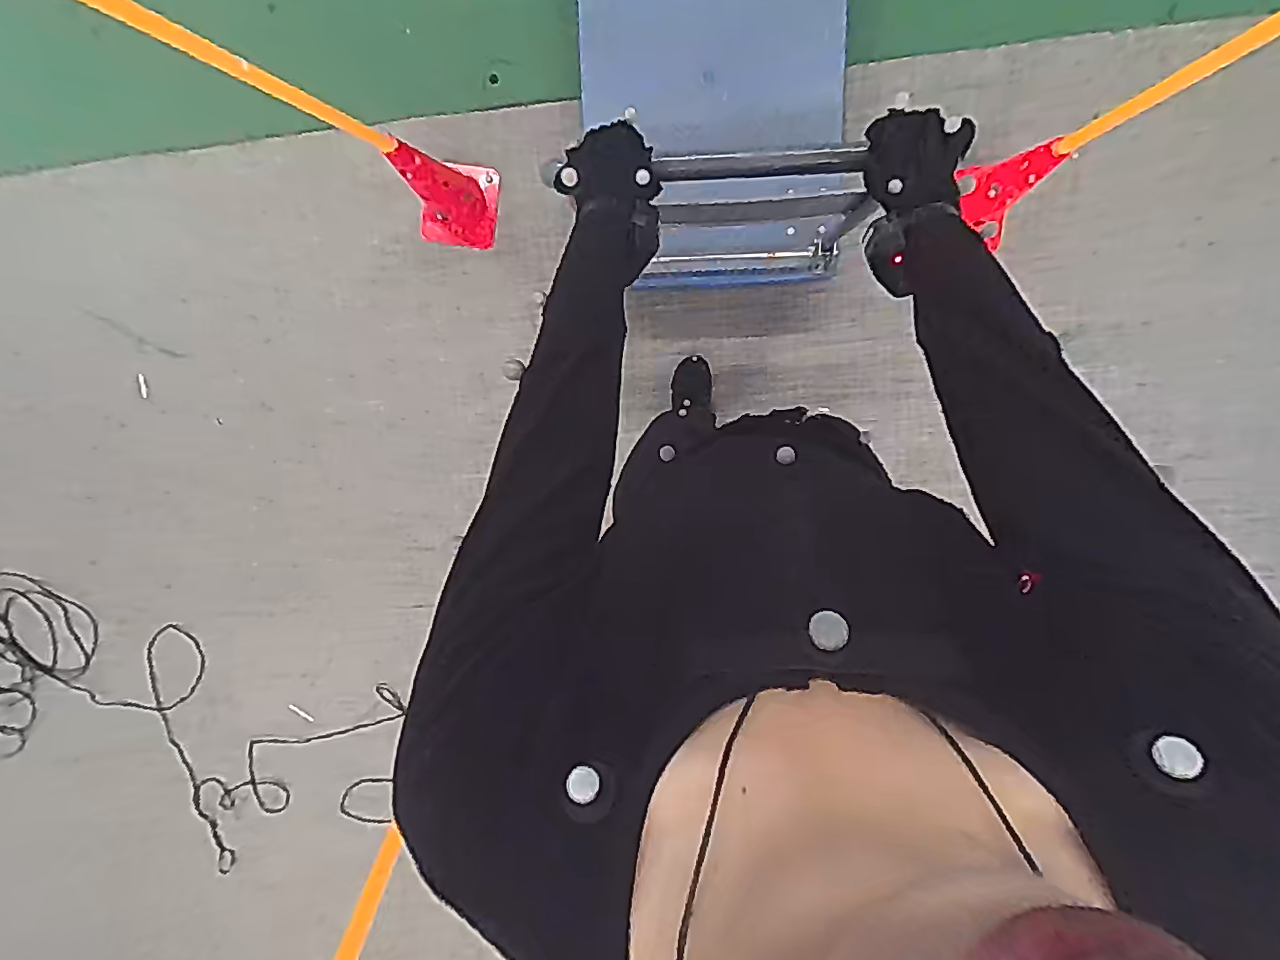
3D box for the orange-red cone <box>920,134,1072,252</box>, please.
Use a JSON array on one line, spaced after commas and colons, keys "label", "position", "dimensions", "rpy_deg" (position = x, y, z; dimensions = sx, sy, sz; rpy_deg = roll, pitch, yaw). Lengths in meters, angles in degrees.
[{"label": "orange-red cone", "position": [0.797, -0.647, 1.173], "dimensions": [0.198, 0.360, 0.199], "rpy_deg": [7, 100, 3]}]
